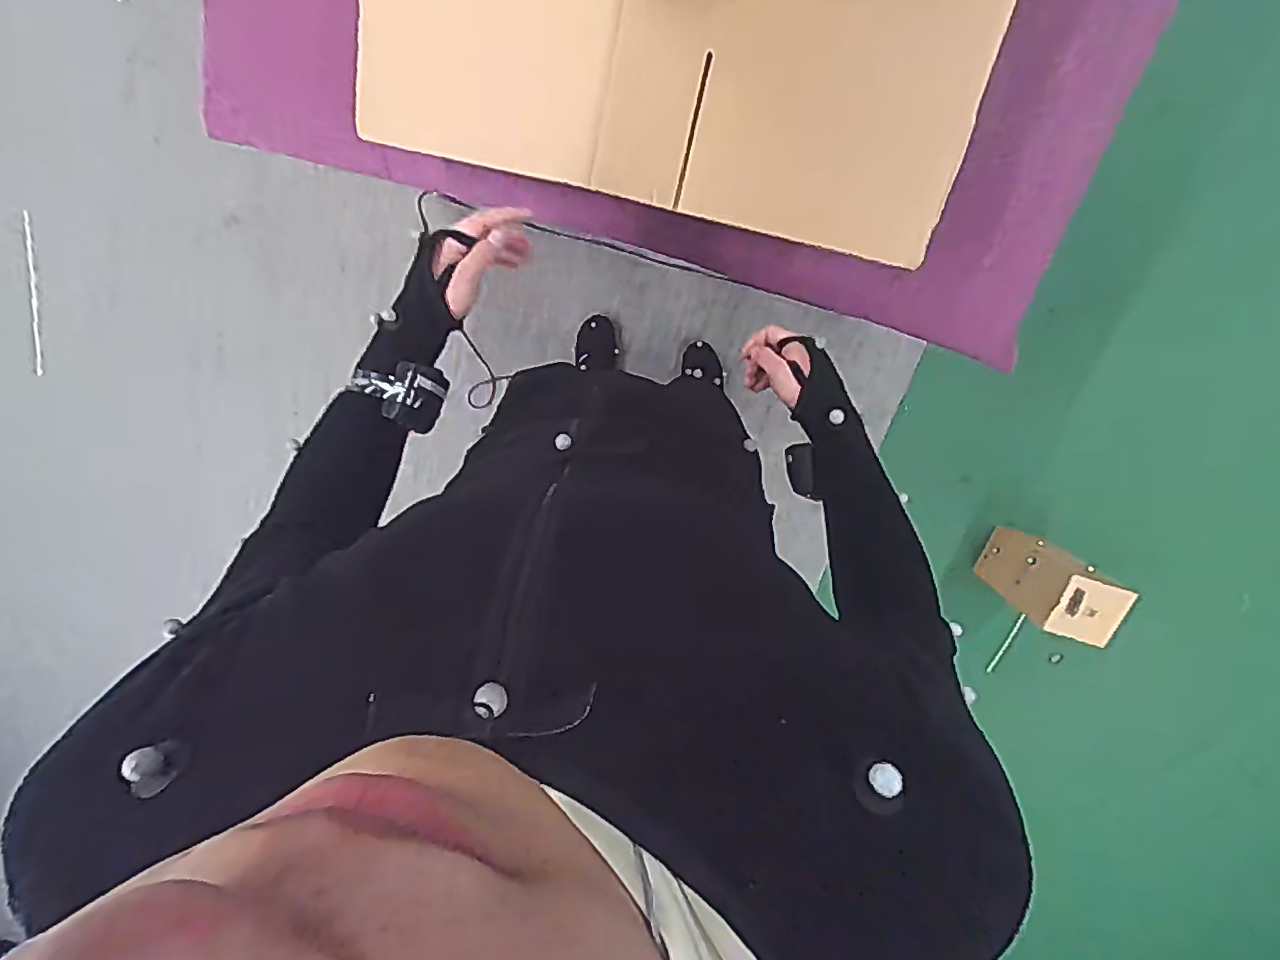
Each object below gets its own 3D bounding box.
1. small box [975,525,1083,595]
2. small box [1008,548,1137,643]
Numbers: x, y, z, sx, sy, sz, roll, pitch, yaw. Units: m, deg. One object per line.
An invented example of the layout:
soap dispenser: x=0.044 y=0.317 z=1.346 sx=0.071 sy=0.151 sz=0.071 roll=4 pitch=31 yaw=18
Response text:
small box: x=1.146 y=0.250 z=1.597 sx=0.179 sy=0.176 sz=0.168 roll=17 pitch=108 yaw=-2
small box: x=1.139 y=0.299 z=1.441 sx=0.179 sy=0.176 sz=0.168 roll=16 pitch=108 yaw=-3
